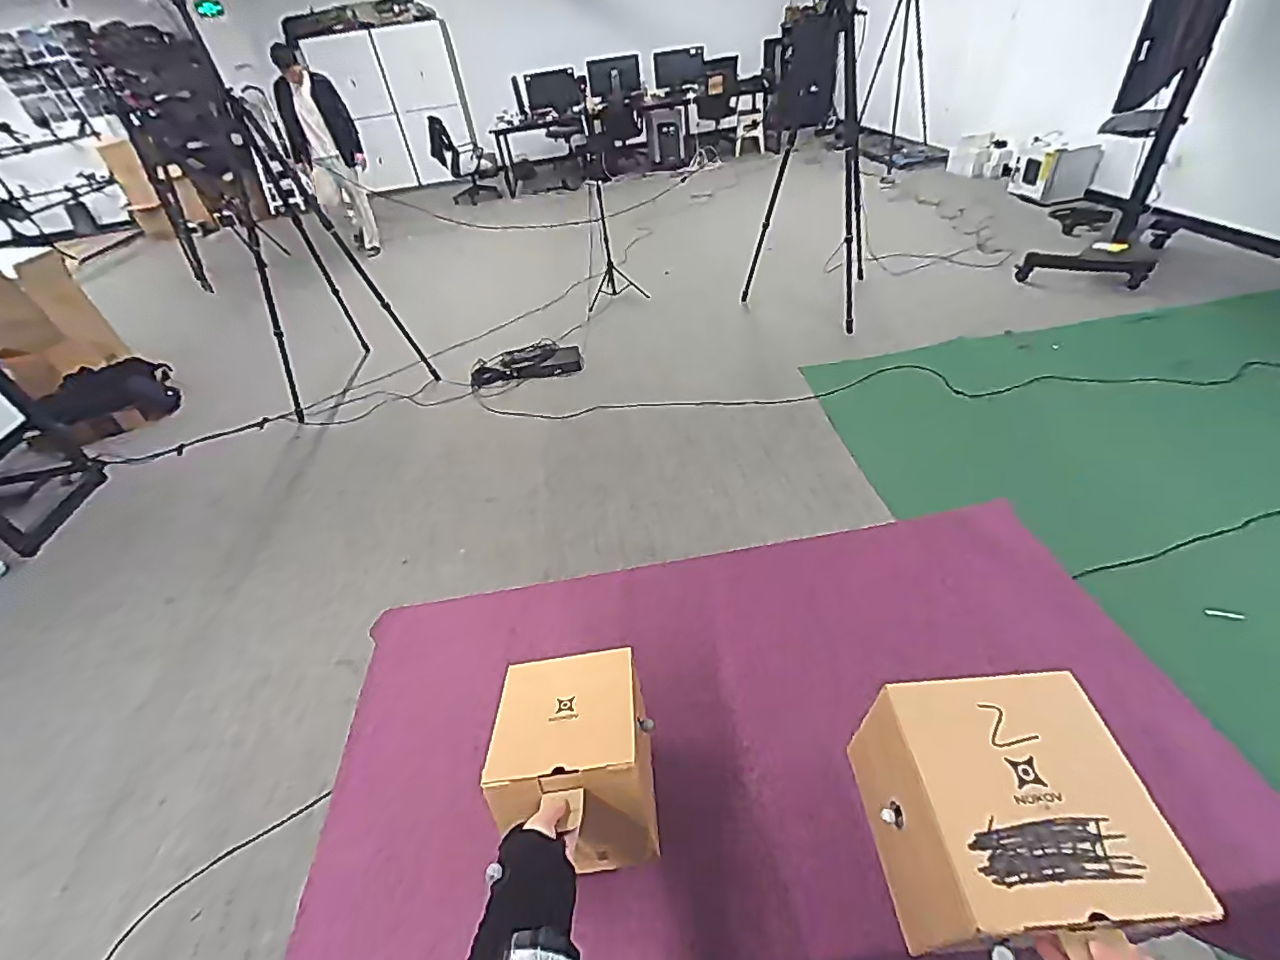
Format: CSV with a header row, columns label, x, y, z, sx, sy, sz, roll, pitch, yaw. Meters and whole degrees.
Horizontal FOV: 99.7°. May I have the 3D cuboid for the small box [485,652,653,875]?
label,x,y,z,sx,sy,sz,roll,pitch,yaw
small box,-0.078,0.350,0.683,0.168,0.176,0.179,-9,25,1
